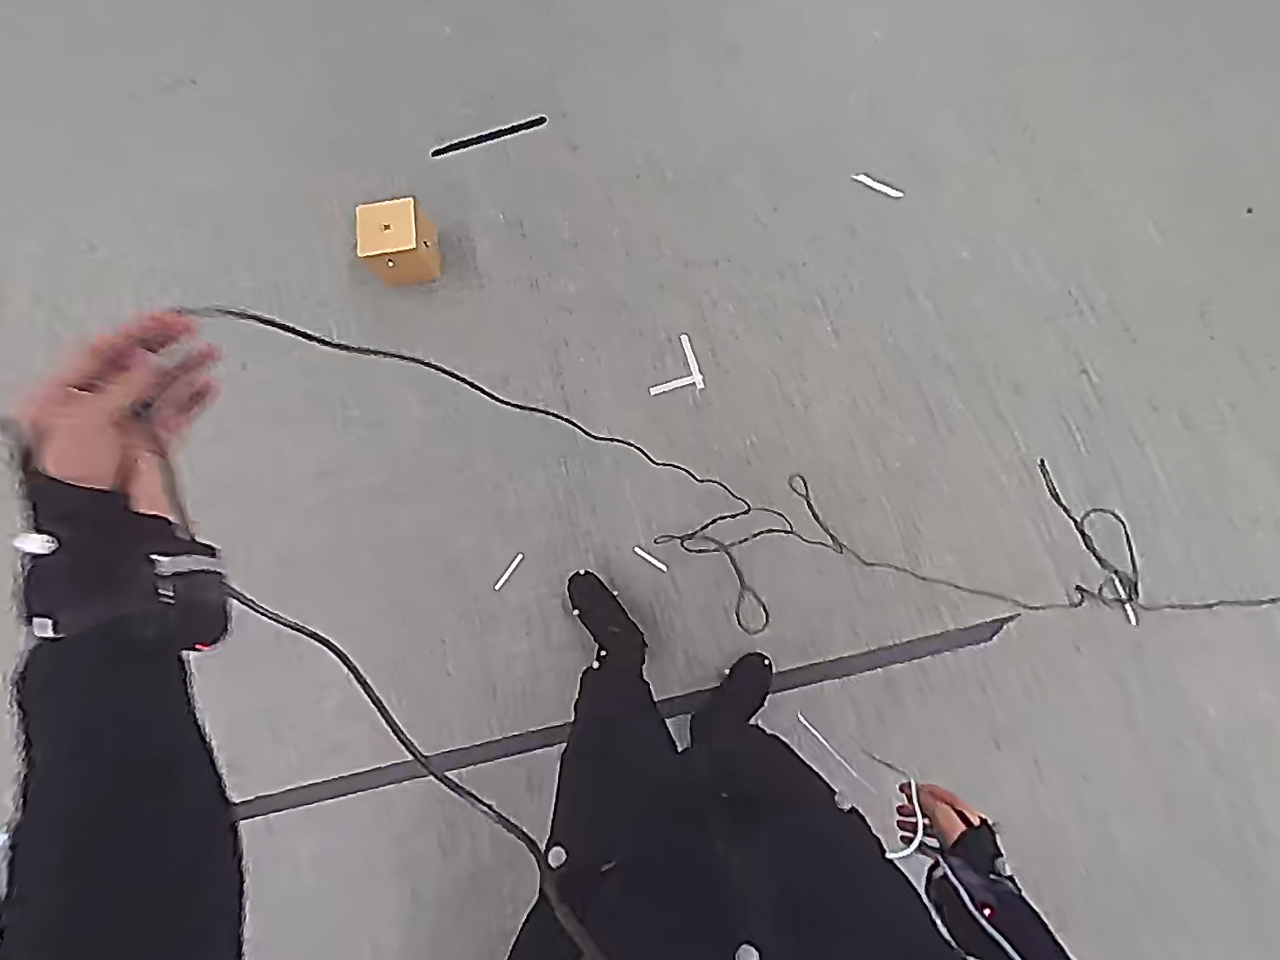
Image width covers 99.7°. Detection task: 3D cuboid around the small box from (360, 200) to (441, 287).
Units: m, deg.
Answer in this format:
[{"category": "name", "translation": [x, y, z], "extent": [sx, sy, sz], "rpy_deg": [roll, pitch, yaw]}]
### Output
[{"category": "small box", "translation": [-0.712, -0.706, 1.628], "extent": [0.179, 0.176, 0.168], "rpy_deg": [-8, 80, 4]}]
